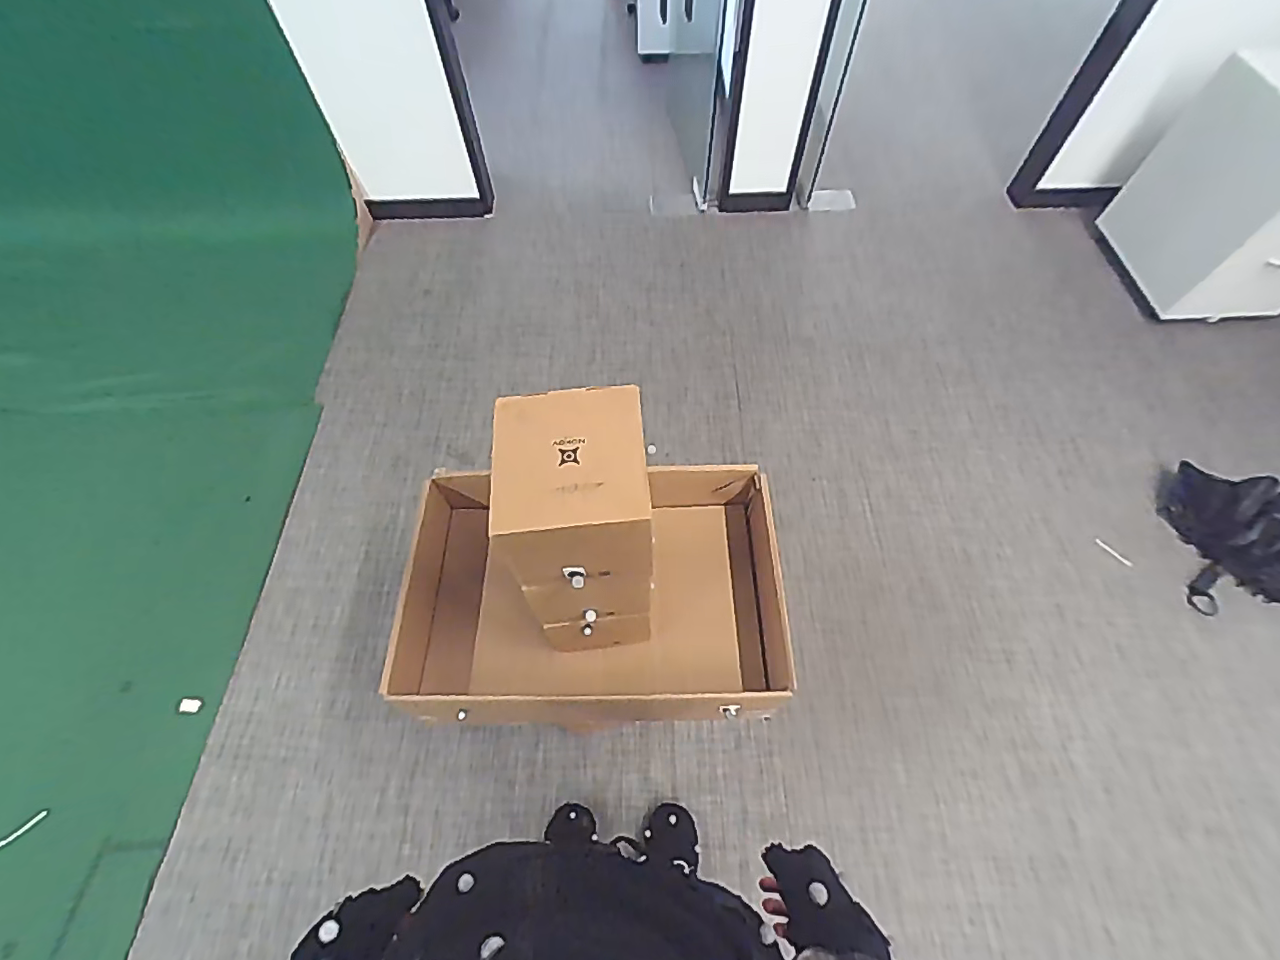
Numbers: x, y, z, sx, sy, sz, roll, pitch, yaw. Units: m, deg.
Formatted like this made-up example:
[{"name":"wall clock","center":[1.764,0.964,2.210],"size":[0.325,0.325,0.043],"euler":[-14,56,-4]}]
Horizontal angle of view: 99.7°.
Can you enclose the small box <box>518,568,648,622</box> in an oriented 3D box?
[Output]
[{"name":"small box","center":[-0.079,0.093,0.792],"size":[0.168,0.176,0.179],"euler":[-6,61,-2]}]

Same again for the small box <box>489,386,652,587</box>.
[{"name":"small box","center":[-0.075,0.013,0.652],"size":[0.168,0.176,0.179],"euler":[-6,61,-1]}]

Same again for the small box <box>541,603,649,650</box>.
[{"name":"small box","center":[-0.077,0.178,0.932],"size":[0.168,0.176,0.179],"euler":[-7,59,-2]}]
